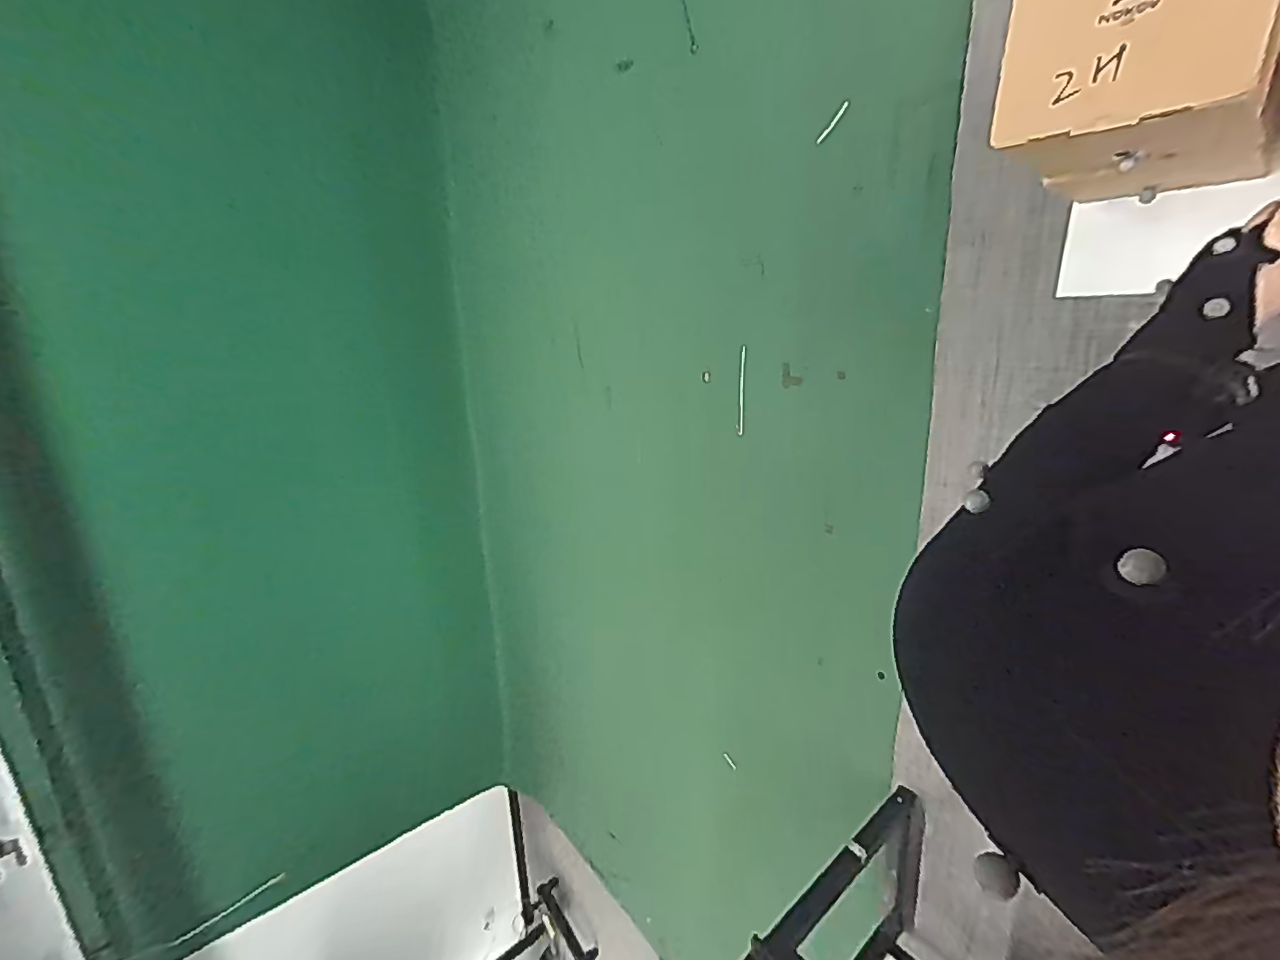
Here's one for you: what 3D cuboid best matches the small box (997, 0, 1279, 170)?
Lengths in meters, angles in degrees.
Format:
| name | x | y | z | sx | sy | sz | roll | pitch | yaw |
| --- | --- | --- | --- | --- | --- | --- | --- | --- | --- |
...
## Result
| name | x | y | z | sx | sy | sz | roll | pitch | yaw |
| --- | --- | --- | --- | --- | --- | --- | --- | --- | --- |
| small box | 0.441 | -0.389 | 0.461 | 0.168 | 0.176 | 0.179 | 19 | 116 | 47 |

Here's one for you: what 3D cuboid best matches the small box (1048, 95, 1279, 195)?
| name | x | y | z | sx | sy | sz | roll | pitch | yaw |
| --- | --- | --- | --- | --- | --- | --- | --- | --- | --- |
| small box | 0.565 | -0.417 | 0.566 | 0.168 | 0.176 | 0.179 | 18 | 115 | 48 |
